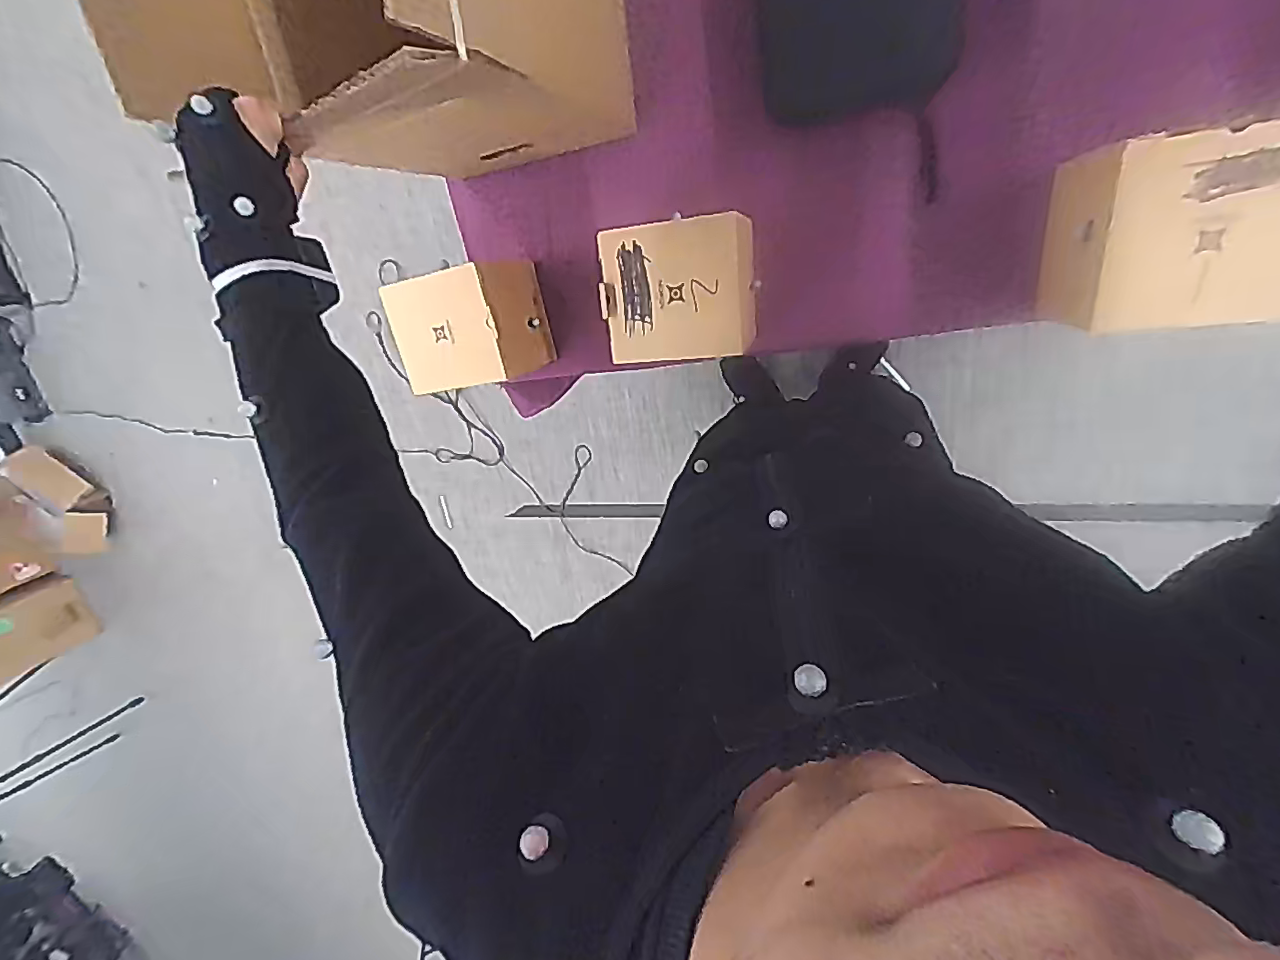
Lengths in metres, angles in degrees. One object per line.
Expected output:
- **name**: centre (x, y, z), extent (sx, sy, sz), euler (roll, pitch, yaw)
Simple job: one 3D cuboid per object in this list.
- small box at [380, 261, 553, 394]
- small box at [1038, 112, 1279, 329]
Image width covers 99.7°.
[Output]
- **small box**: centre (-0.264, -0.243, 0.859), extent (0.179, 0.176, 0.168), euler (-6, 110, 20)
- **small box**: centre (0.551, -0.262, 0.571), extent (0.168, 0.176, 0.179), euler (1, 112, 19)
